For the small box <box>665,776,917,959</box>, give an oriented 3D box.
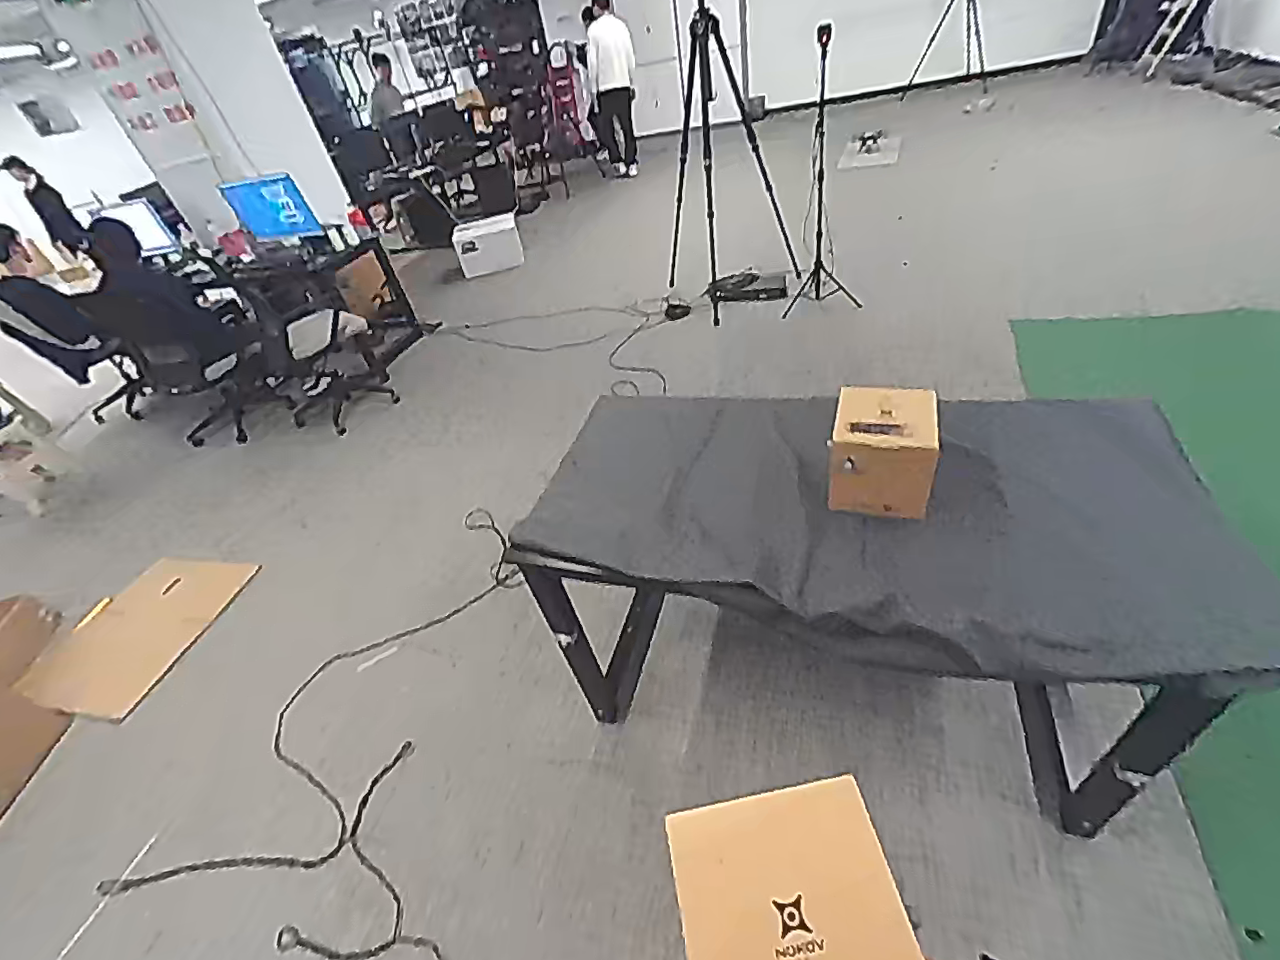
[{"bbox_3d":[0.123,0.382,0.458,0.168,0.176,0.179,-13,47,2],"label":"small box"}]
